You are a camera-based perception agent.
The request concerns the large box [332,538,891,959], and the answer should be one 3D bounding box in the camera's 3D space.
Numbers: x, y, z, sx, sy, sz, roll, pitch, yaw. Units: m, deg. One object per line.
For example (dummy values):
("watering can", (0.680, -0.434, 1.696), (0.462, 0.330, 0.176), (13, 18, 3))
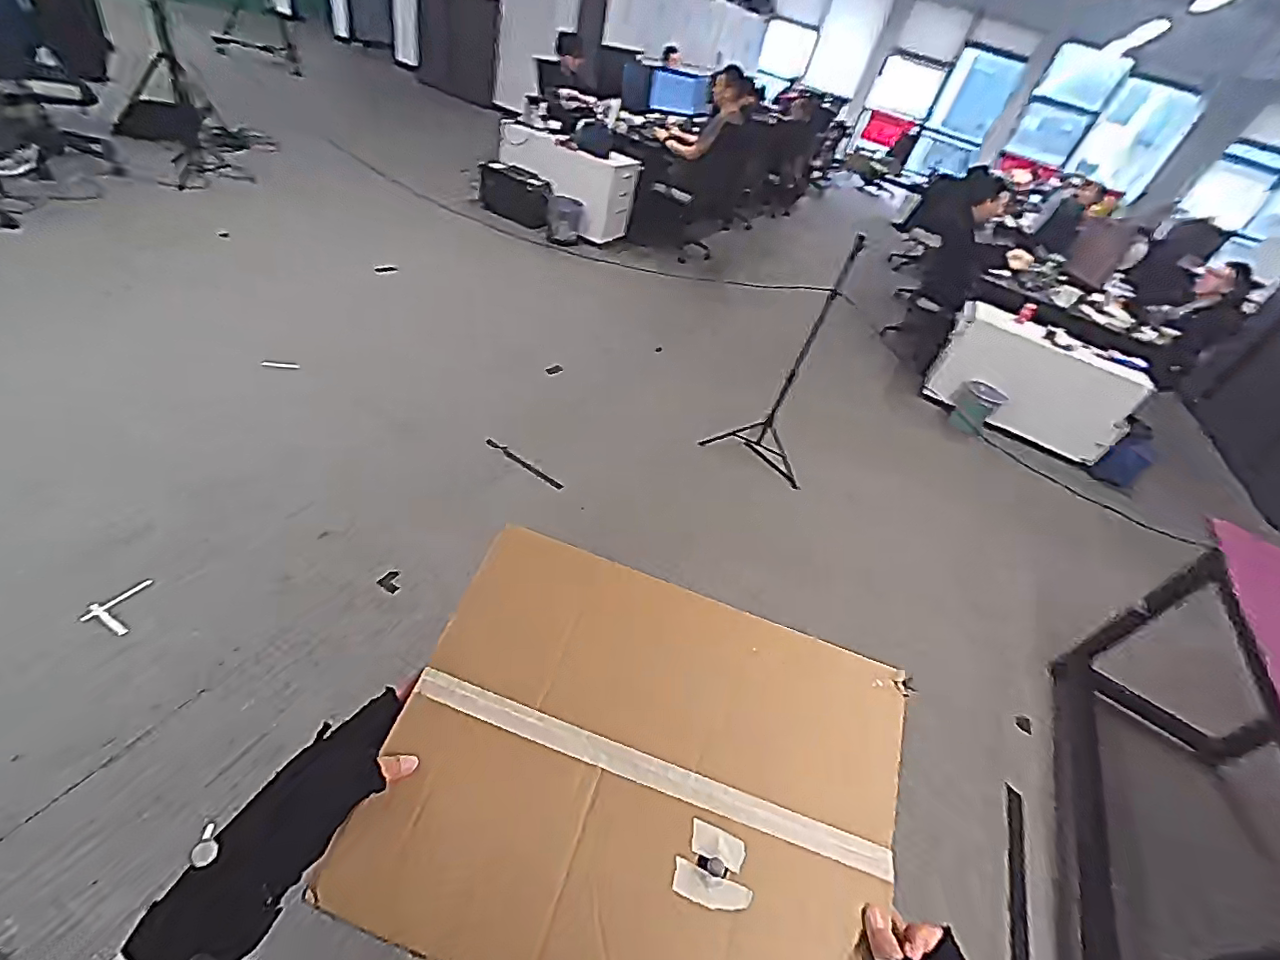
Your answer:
("large box", (-0.012, 0.316, 0.578), (0.408, 0.320, 0.320), (20, 59, 3))
